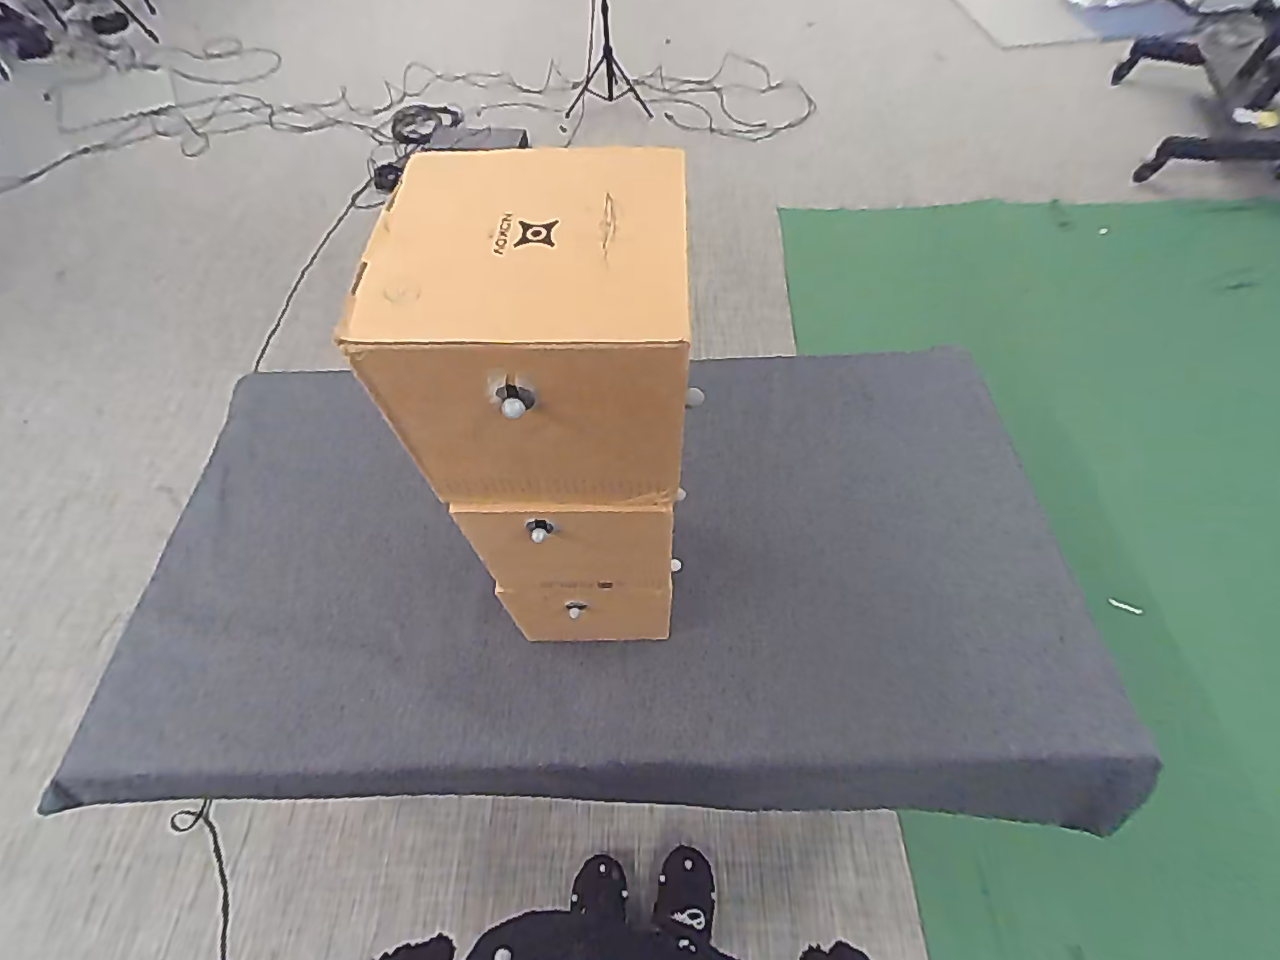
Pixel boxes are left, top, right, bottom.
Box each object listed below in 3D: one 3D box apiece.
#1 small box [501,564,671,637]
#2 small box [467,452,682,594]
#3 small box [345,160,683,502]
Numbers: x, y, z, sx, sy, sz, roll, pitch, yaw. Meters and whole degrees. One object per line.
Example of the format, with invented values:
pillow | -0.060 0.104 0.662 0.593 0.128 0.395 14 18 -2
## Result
small box | -0.052 0.085 0.652 0.179 0.176 0.168 -1 57 1
small box | -0.051 -0.005 0.518 0.168 0.176 0.179 -2 58 0
small box | -0.060 -0.094 0.379 0.179 0.176 0.168 0 60 1
